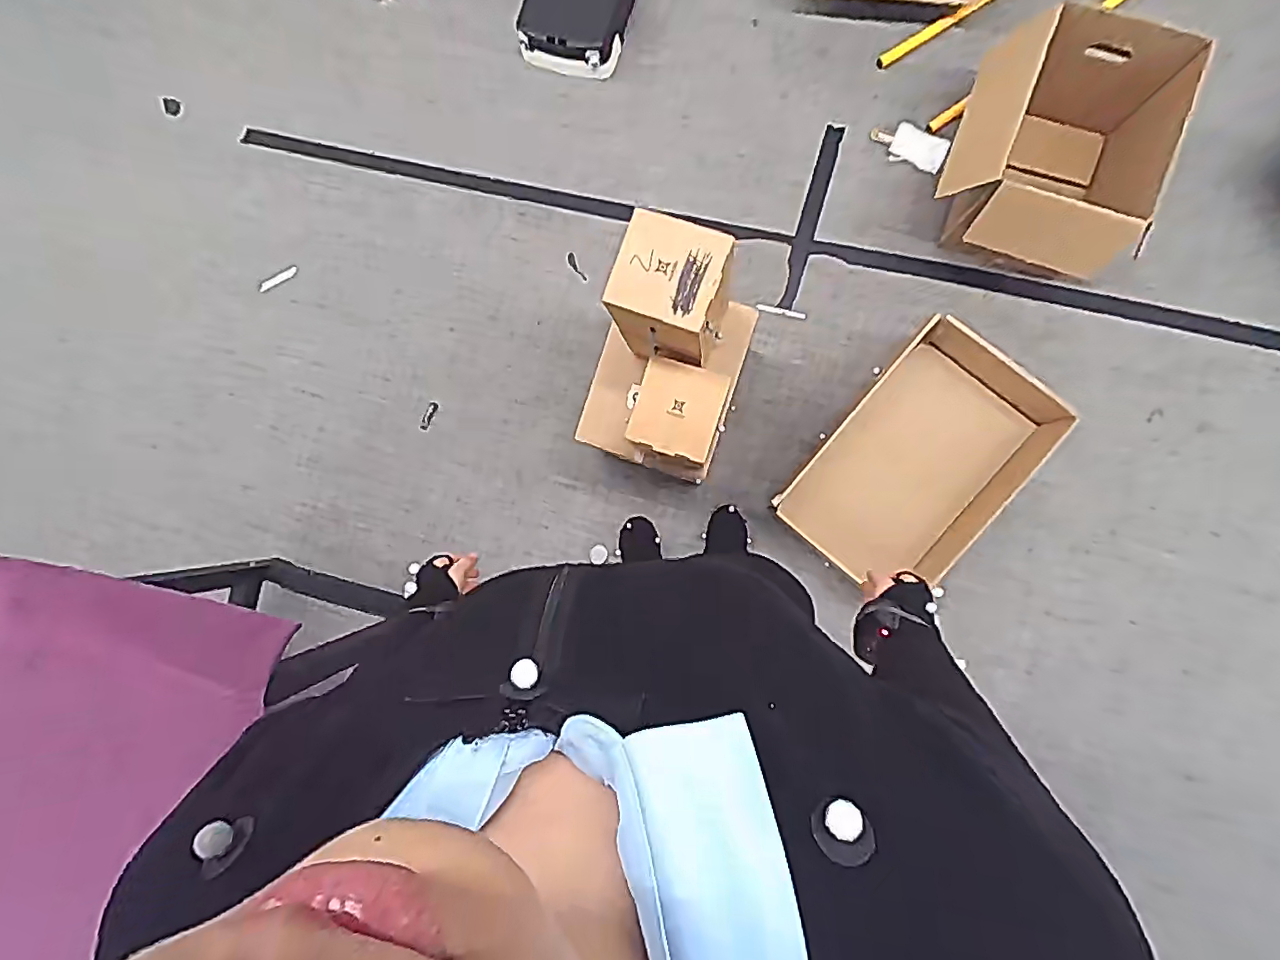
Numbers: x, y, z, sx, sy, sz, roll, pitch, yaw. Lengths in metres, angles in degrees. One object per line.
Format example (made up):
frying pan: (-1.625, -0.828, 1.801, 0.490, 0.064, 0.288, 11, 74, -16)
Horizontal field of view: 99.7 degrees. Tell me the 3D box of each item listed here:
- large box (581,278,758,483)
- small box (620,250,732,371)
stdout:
large box: (0.080, -0.227, 1.359, 0.320, 0.320, 0.408, 17, 91, 8)
small box: (0.077, -0.339, 1.115, 0.179, 0.176, 0.168, 21, 92, 7)
